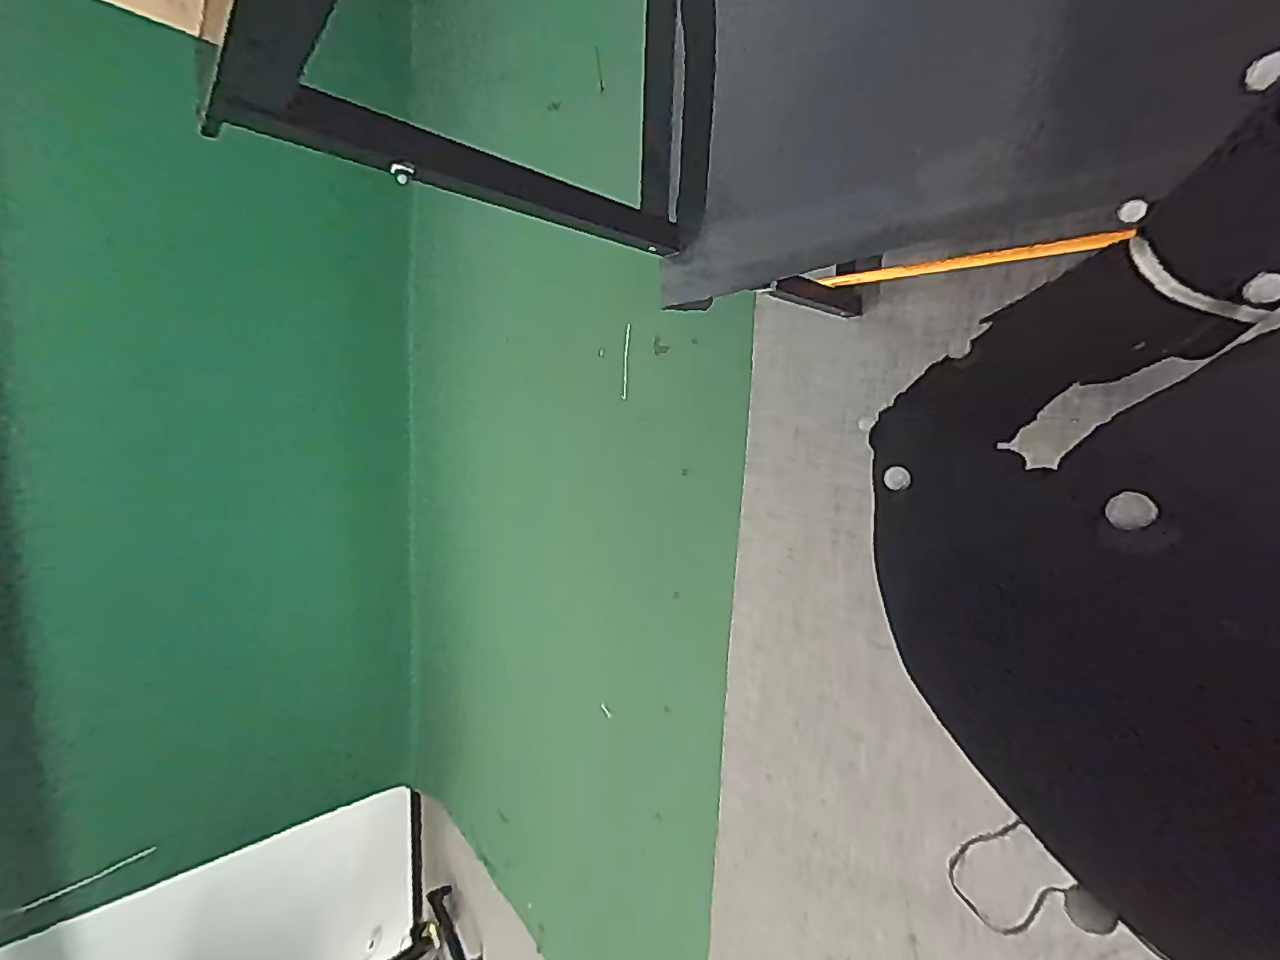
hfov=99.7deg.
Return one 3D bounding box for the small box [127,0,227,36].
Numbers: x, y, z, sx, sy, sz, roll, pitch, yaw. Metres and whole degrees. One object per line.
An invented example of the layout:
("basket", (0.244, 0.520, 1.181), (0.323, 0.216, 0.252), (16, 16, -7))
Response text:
("small box", (-0.443, -0.528, 0.441), (0.168, 0.176, 0.179), (8, 100, 47))
